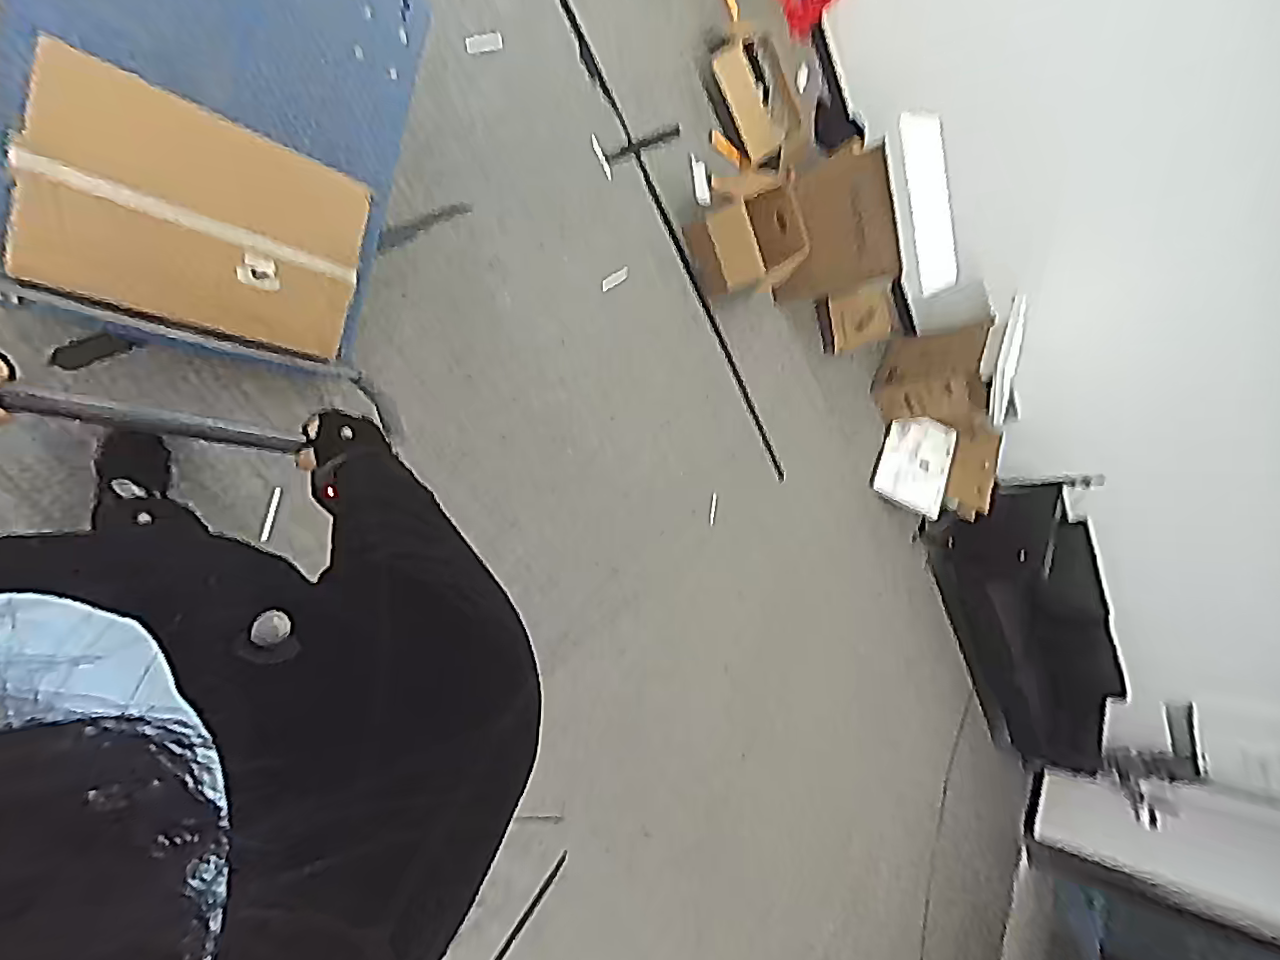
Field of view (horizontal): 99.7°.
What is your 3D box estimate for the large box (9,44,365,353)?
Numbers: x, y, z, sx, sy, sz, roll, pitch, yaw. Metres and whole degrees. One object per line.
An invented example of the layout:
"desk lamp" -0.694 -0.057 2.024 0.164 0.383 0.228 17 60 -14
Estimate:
"large box" -0.770 -0.440 0.955 0.408 0.320 0.320 10 99 -43
